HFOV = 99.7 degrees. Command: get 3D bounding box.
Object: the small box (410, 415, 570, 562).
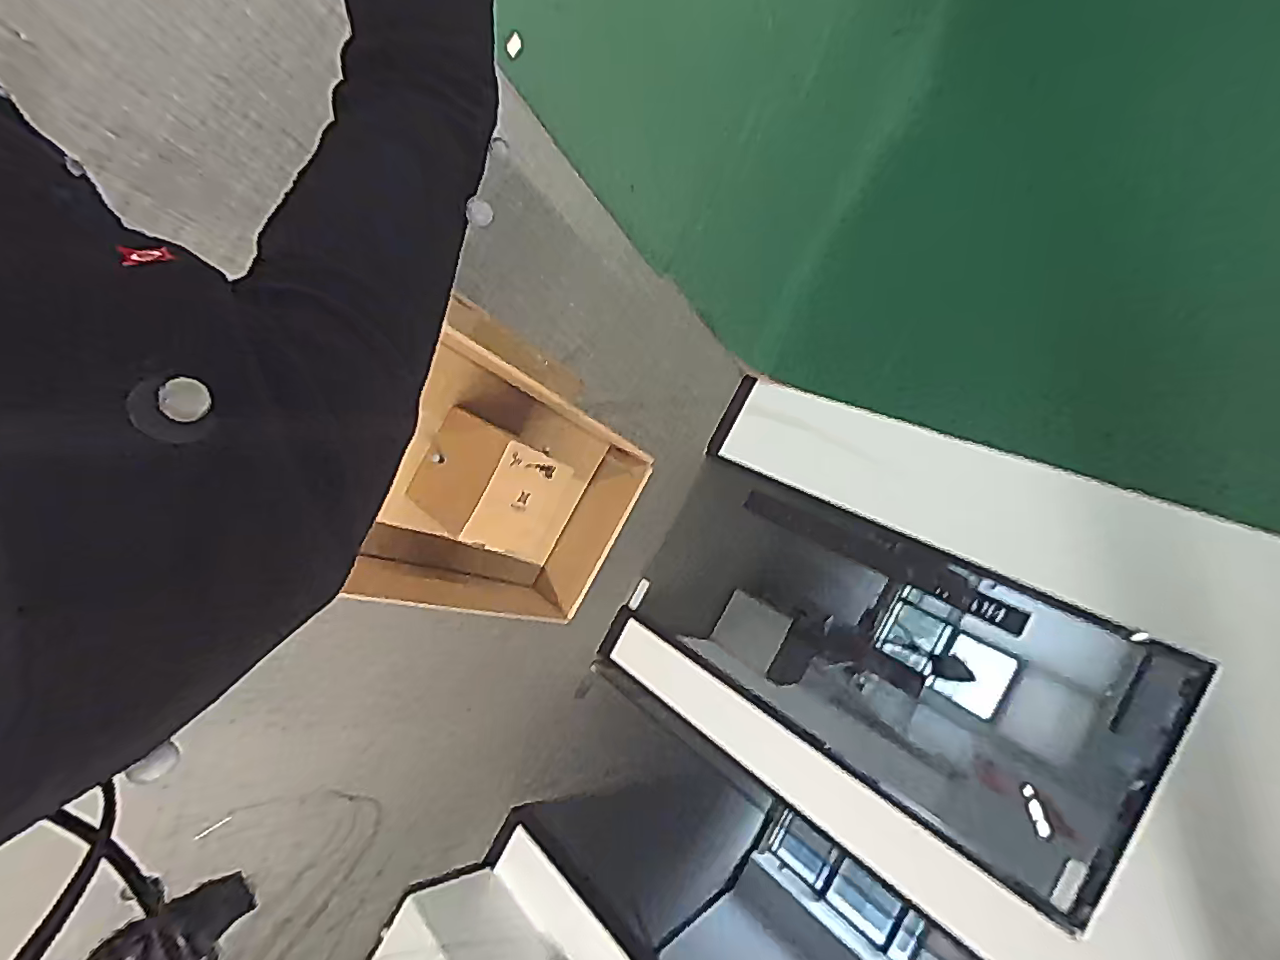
[{"bbox_3d":[-0.259,0.015,0.920,0.168,0.176,0.179,28,90,-56],"label":"small box"}]
